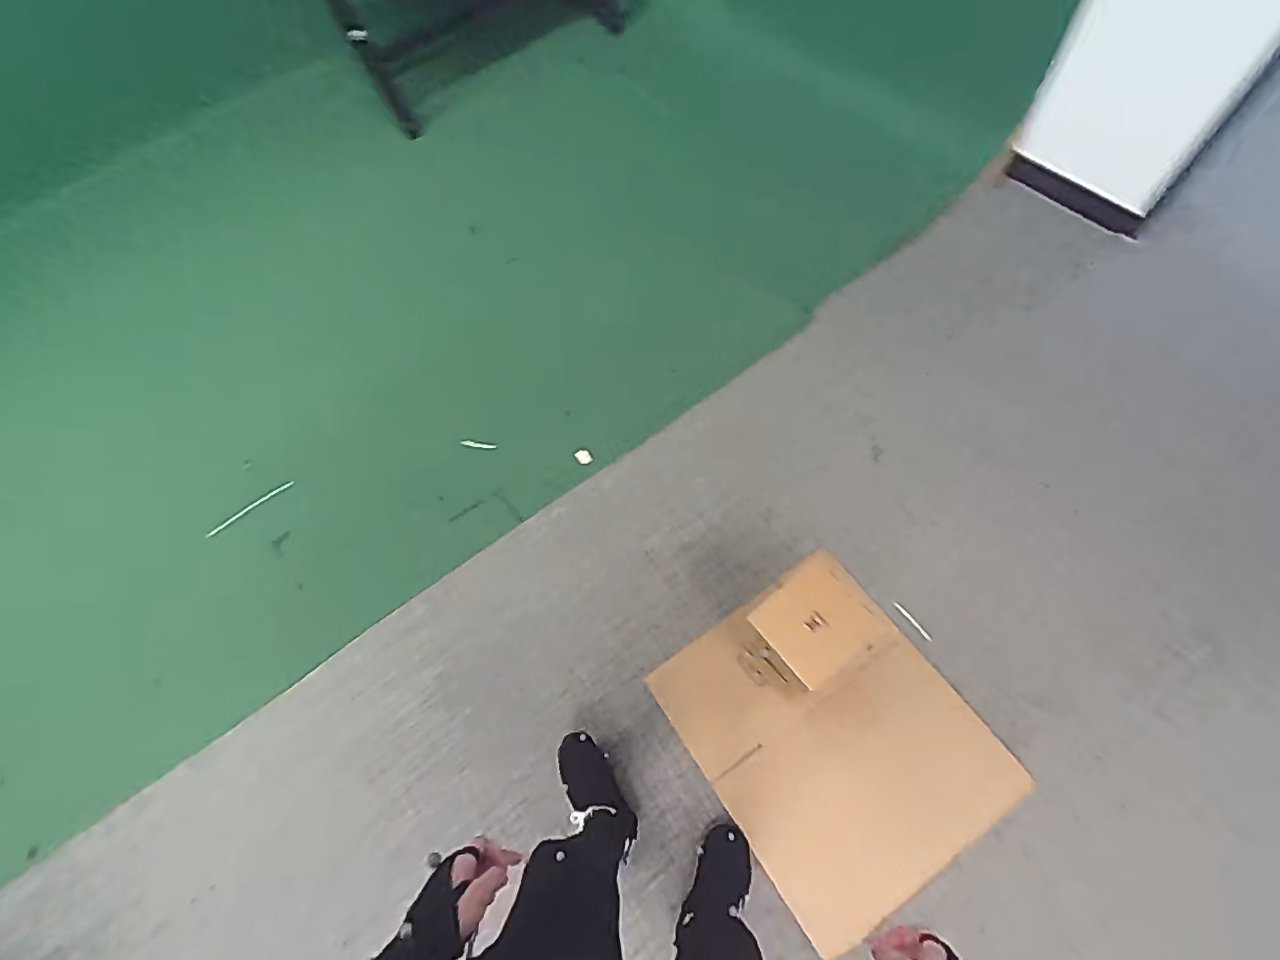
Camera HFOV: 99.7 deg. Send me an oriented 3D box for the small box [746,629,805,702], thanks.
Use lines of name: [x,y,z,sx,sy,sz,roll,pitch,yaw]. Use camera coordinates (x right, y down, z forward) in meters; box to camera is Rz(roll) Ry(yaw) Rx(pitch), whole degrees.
small box: [0.347,0.354,1.159,0.179,0.176,0.168,-38,64,-9]

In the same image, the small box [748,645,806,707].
small box: [0.374,0.422,1.306,0.179,0.176,0.168,-41,65,-9]

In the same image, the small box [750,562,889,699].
small box: [0.325,0.289,1.013,0.179,0.176,0.168,-37,64,-9]
